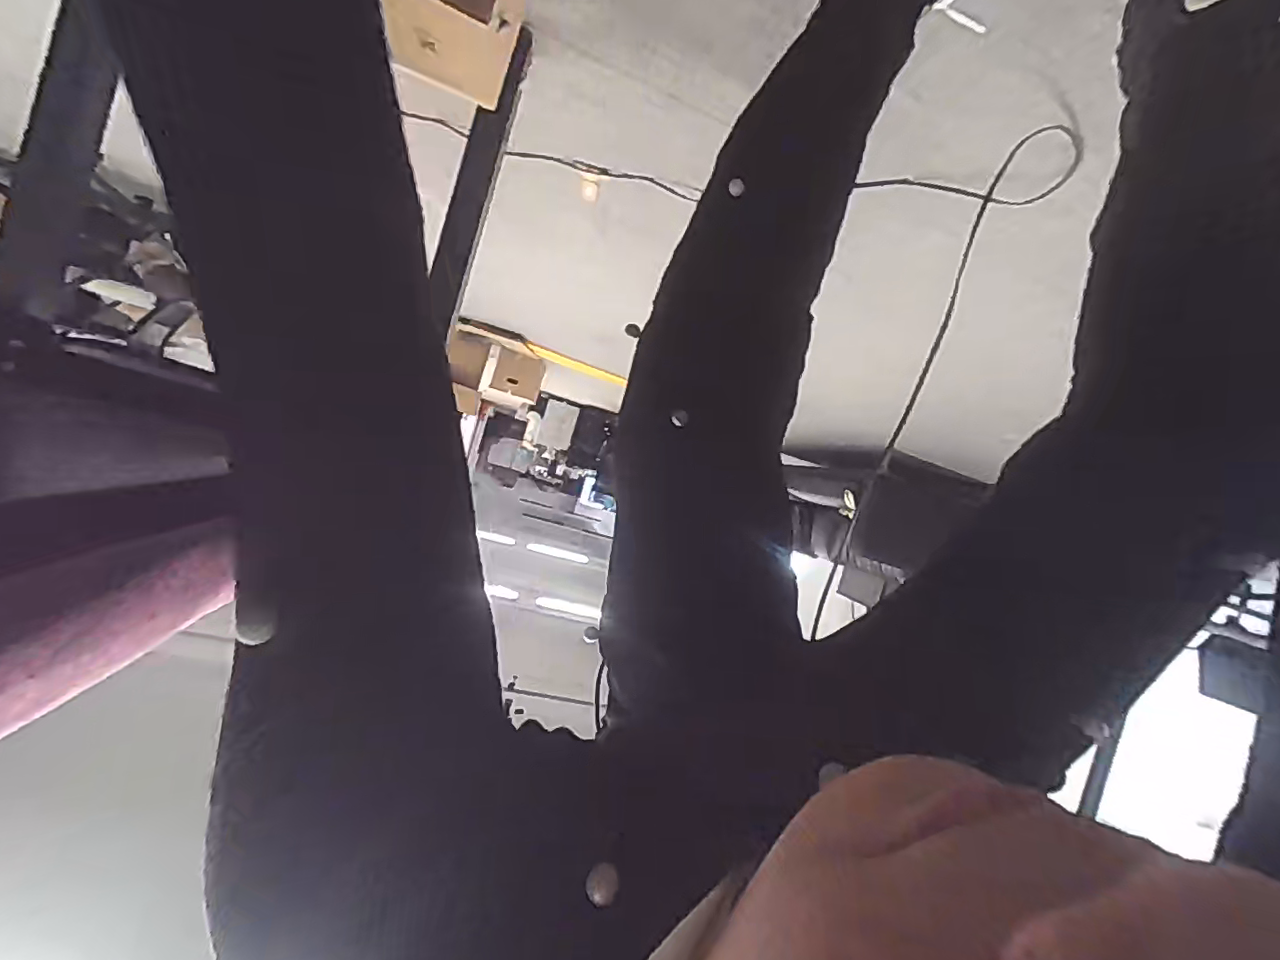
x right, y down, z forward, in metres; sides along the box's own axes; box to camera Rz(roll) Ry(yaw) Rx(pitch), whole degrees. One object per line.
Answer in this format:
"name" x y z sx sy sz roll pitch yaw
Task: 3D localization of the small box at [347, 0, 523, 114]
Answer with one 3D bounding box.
"small box" -0.244 -0.613 0.666 0.168 0.176 0.179 17 180 -13
